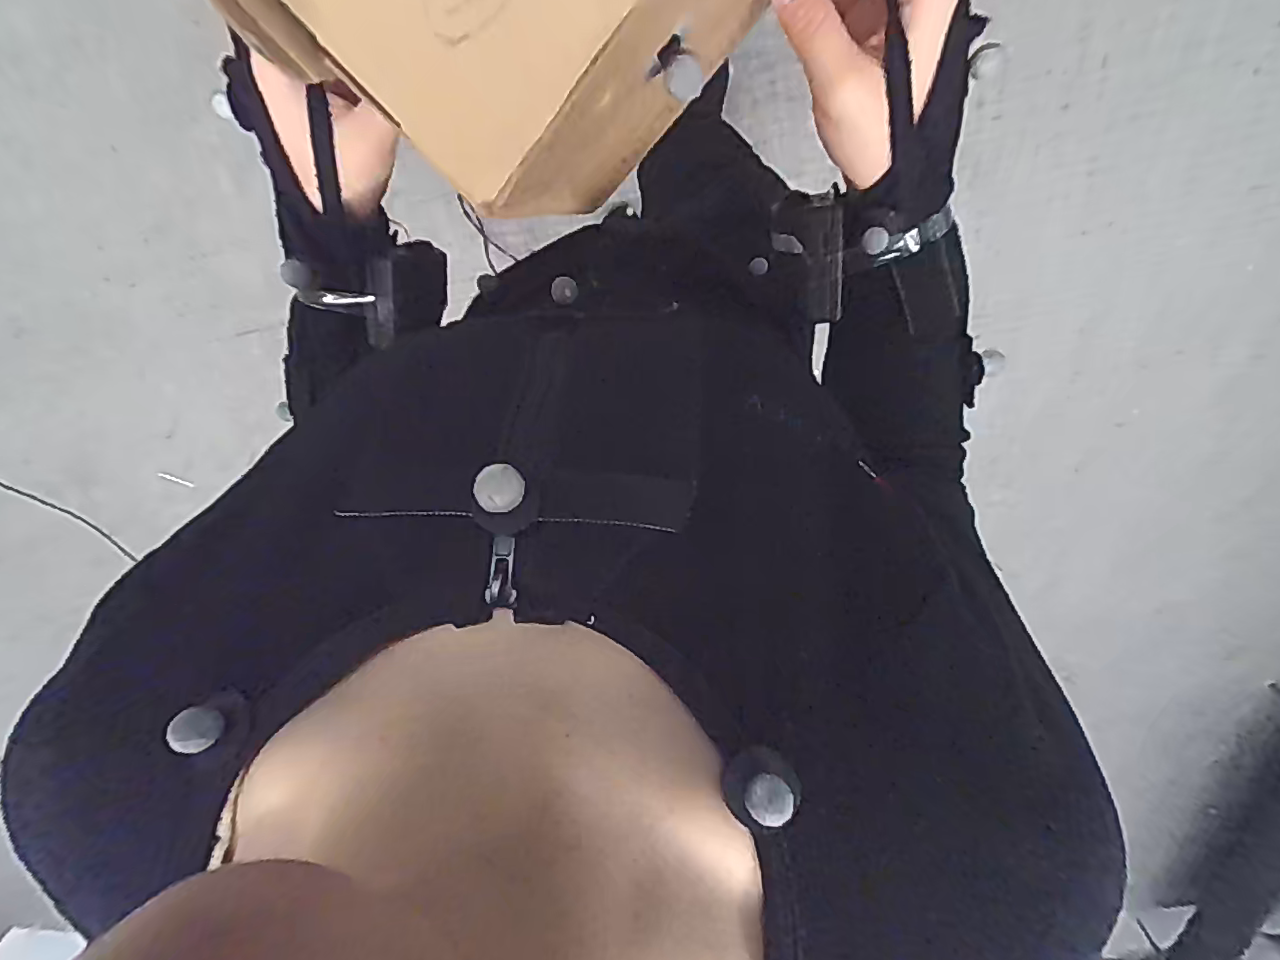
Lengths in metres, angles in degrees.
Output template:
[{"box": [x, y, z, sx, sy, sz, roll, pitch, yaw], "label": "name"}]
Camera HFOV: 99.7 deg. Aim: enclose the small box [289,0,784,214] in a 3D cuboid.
[{"box": [-0.030, -0.225, 0.196, 0.168, 0.176, 0.179, 43, 114, -14], "label": "small box"}]
